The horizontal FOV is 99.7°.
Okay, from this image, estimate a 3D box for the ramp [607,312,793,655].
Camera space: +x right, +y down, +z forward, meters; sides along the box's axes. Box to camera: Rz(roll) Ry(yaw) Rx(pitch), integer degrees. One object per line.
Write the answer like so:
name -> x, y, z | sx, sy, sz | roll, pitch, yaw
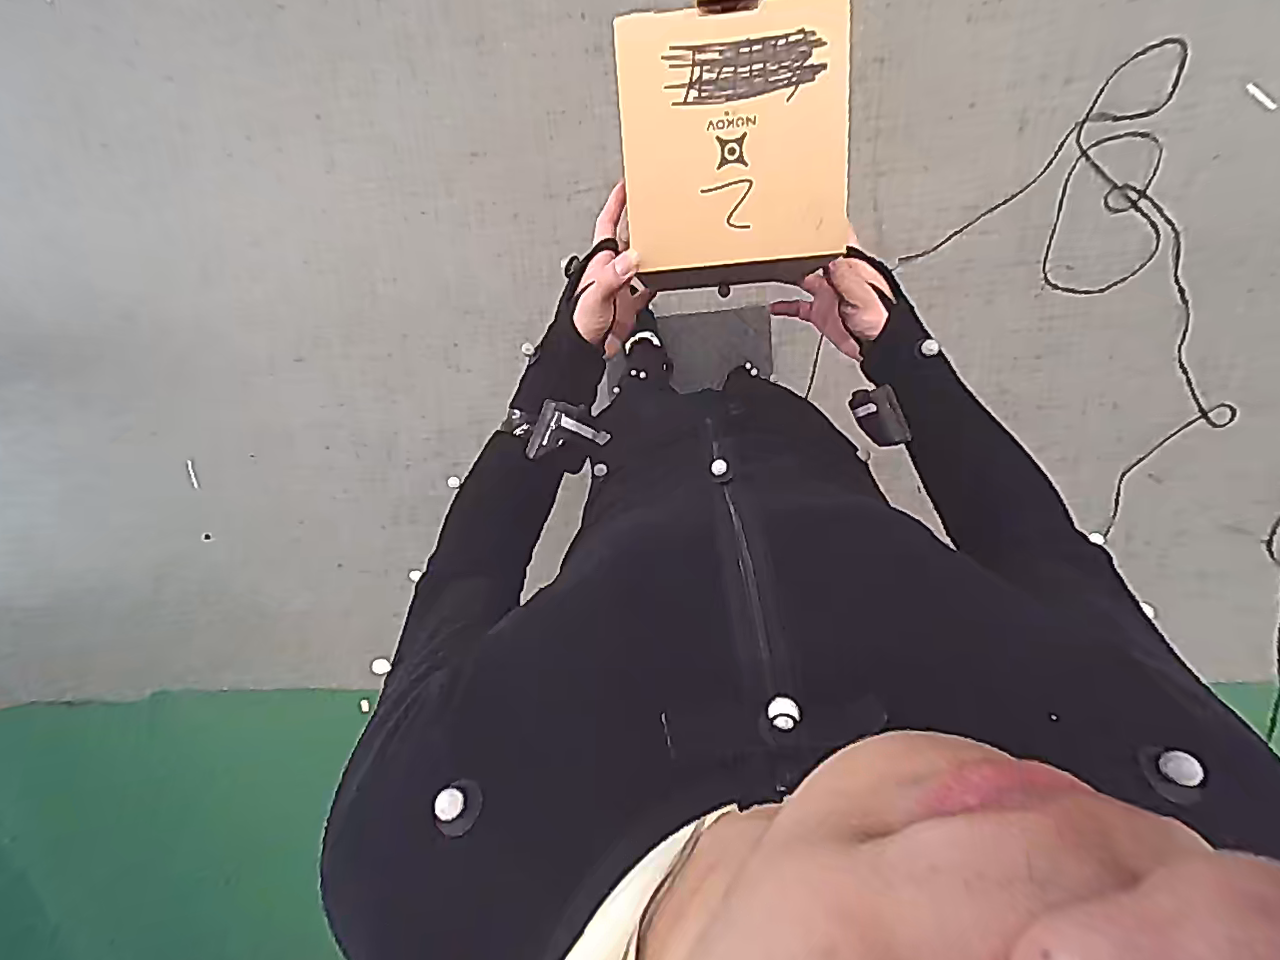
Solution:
ramp -> 0.178, 0.031, 1.609 | 0.509, 0.206, 0.991 | -5, 104, 8
